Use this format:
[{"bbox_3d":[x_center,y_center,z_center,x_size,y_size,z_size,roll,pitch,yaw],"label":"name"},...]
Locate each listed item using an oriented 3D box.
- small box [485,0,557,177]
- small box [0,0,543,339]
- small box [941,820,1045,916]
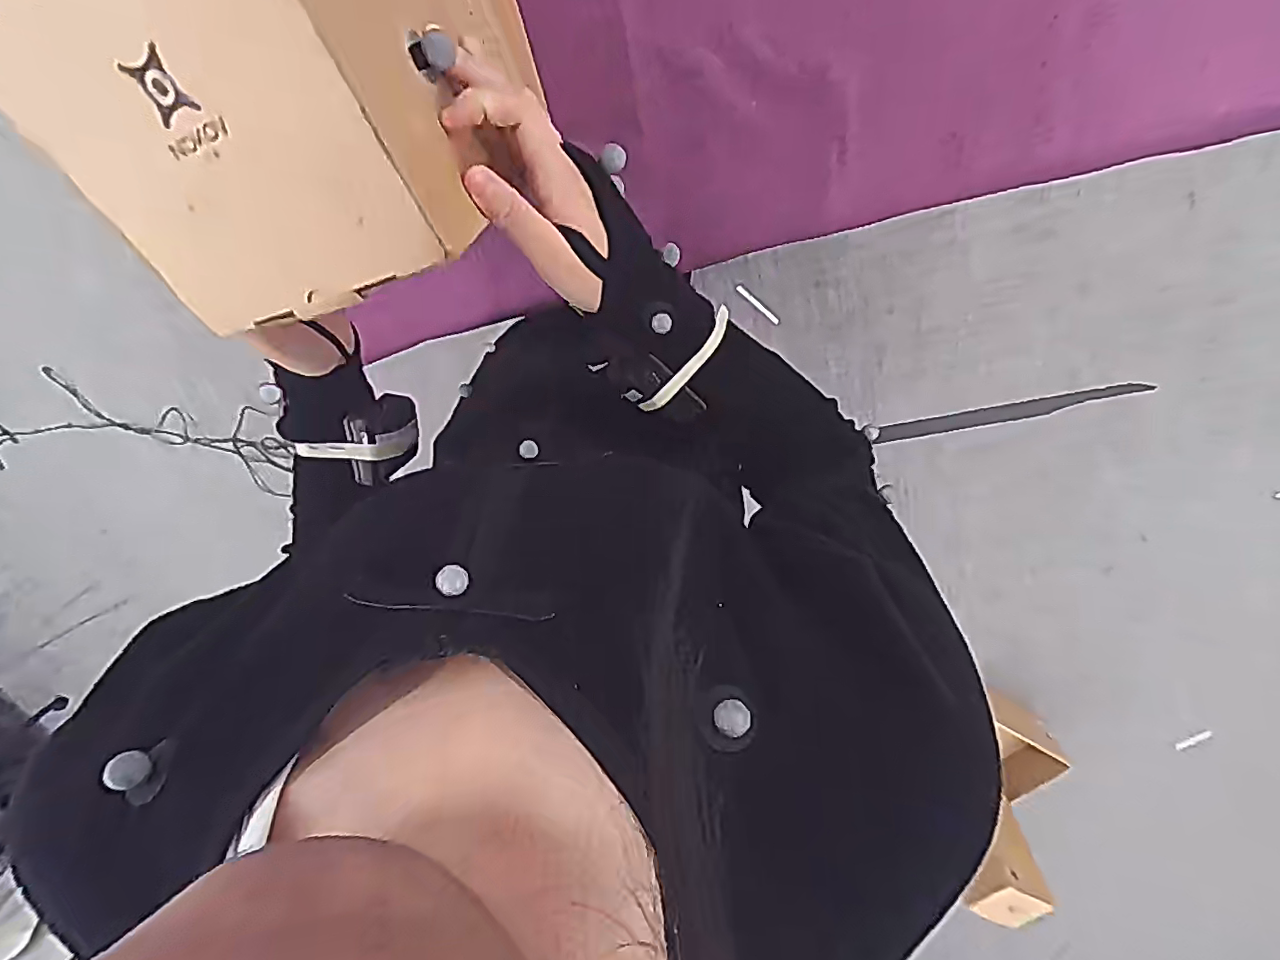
[{"bbox_3d":[-0.193,-0.368,0.510,0.168,0.176,0.179,-11,117,12],"label":"small box"},{"bbox_3d":[-0.174,-0.206,0.281,0.168,0.176,0.179,-8,134,21],"label":"small box"},{"bbox_3d":[1.060,1.171,1.642,0.179,0.176,0.168,26,120,-8],"label":"small box"}]
